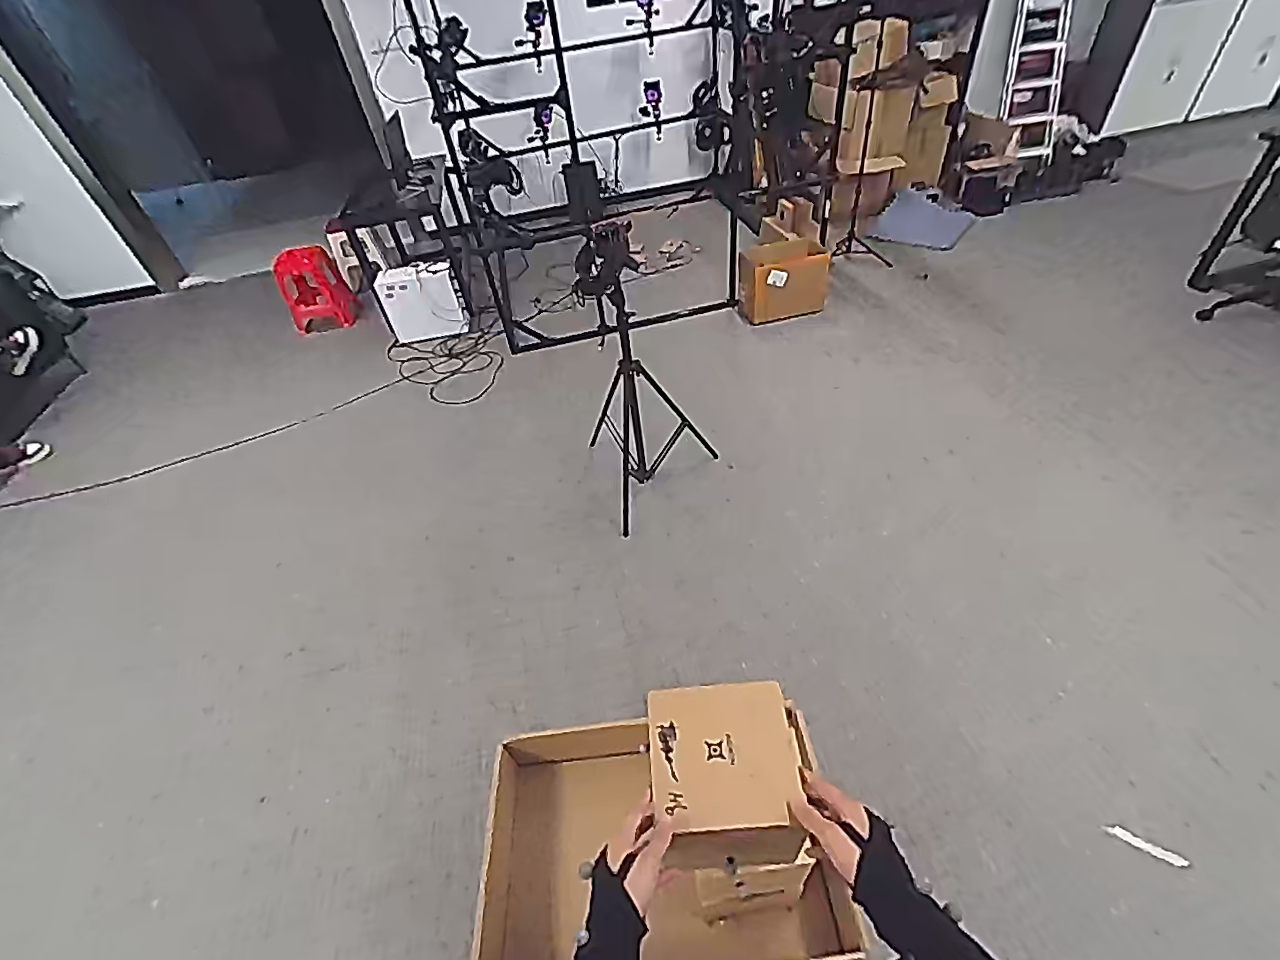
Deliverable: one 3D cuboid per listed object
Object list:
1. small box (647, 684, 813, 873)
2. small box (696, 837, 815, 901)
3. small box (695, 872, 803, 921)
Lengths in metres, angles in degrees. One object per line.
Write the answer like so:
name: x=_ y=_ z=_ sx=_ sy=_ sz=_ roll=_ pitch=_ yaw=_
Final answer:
small box: x=0.100 y=0.379 z=0.686 sx=0.179 sy=0.176 sz=0.168 roll=-4 pitch=41 yaw=1
small box: x=0.160 y=0.532 z=0.844 sx=0.168 sy=0.176 sz=0.179 roll=-9 pitch=42 yaw=-1
small box: x=0.176 y=0.652 z=0.954 sx=0.168 sy=0.176 sz=0.179 roll=-9 pitch=42 yaw=-1
